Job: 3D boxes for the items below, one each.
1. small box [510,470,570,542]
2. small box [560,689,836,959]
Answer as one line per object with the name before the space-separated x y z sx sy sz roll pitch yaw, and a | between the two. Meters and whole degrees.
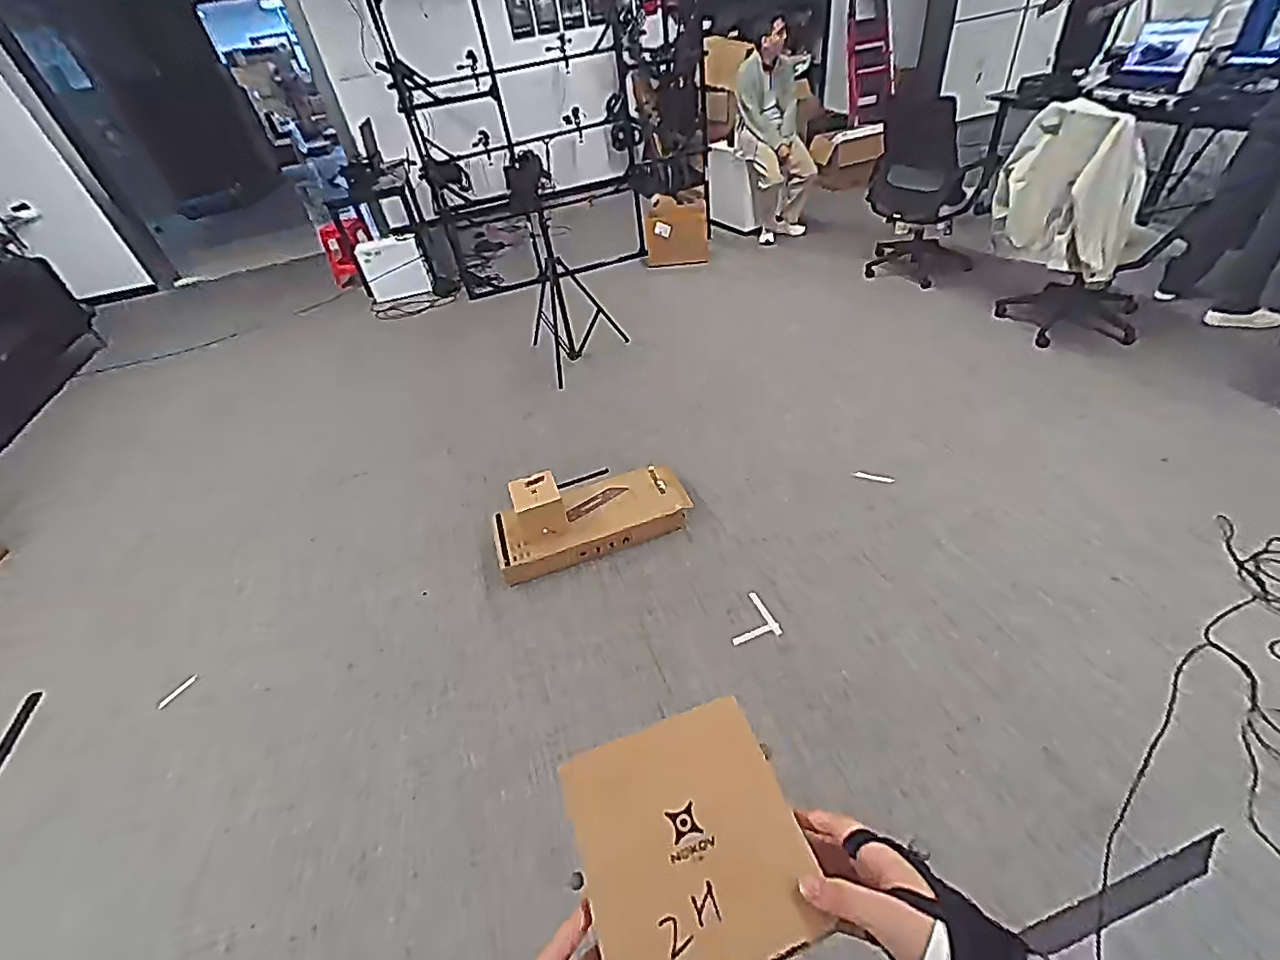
small box | -0.368 0.096 2.001 0.168 0.176 0.179 -19 42 -11
small box | 0.039 0.323 0.474 0.168 0.176 0.179 -17 46 -11
